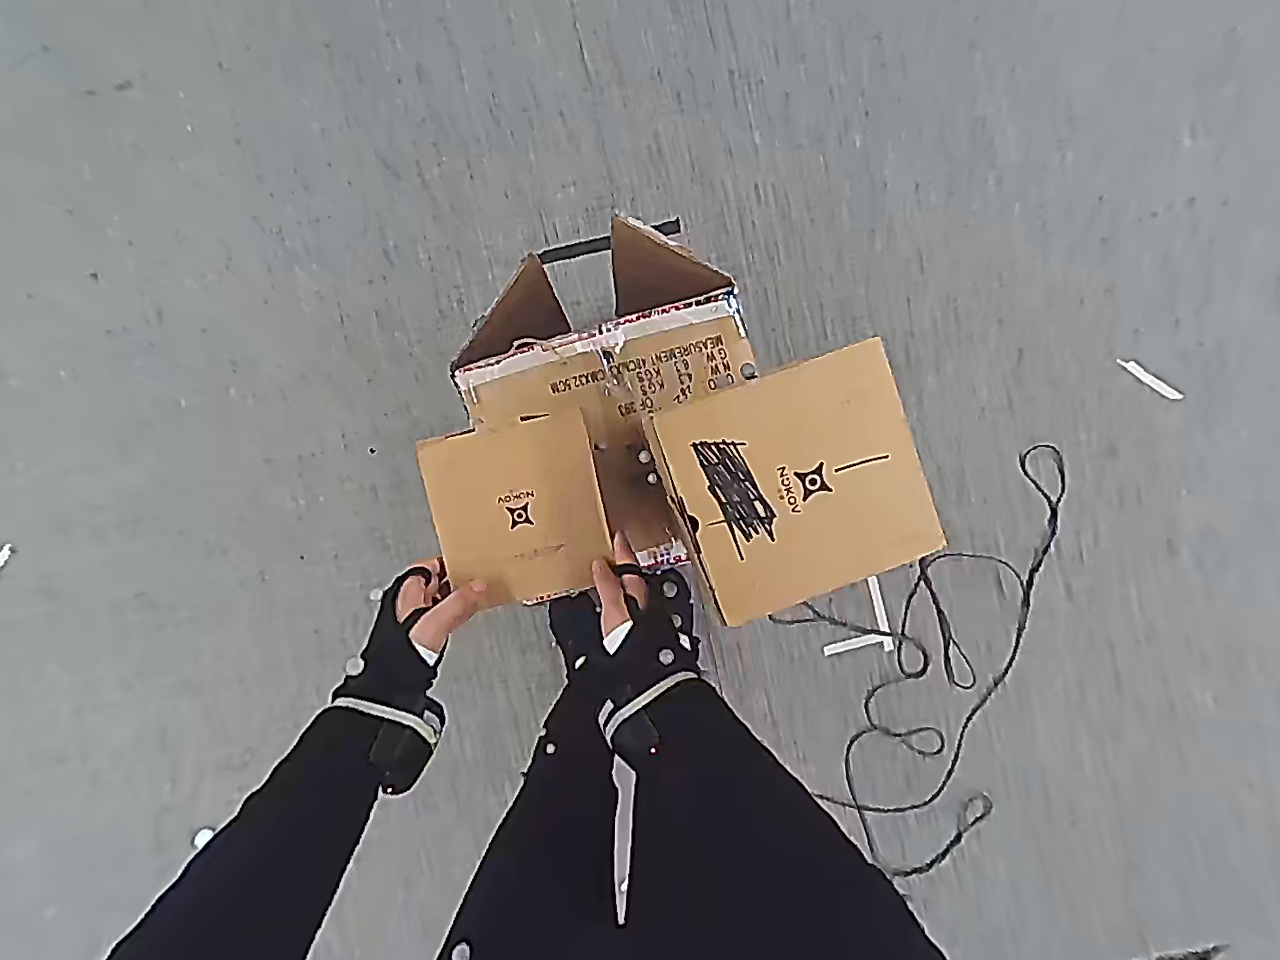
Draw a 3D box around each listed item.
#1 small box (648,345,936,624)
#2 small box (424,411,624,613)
[{"bbox_3d":[0.113,0.000,0.478,0.179,0.176,0.168,-20,95,-1],"label":"small box"},{"bbox_3d":[-0.118,0.027,0.616,0.168,0.176,0.179,-13,96,0],"label":"small box"}]
